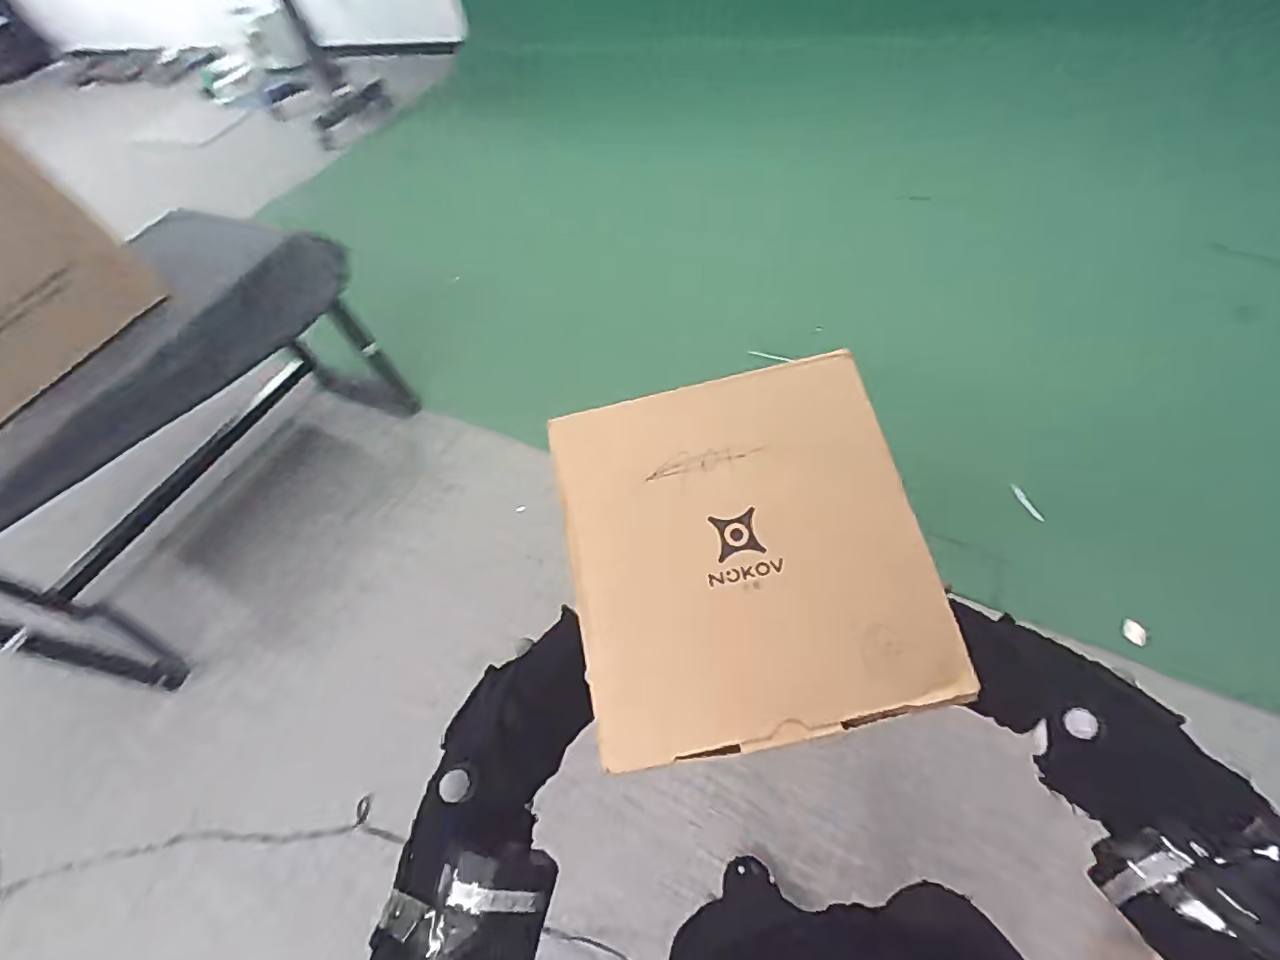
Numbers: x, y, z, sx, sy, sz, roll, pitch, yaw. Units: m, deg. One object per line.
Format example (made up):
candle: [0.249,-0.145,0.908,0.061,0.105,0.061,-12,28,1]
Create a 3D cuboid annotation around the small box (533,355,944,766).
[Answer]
small box: [0.045,0.055,0.339,0.168,0.176,0.179,-13,69,0]
